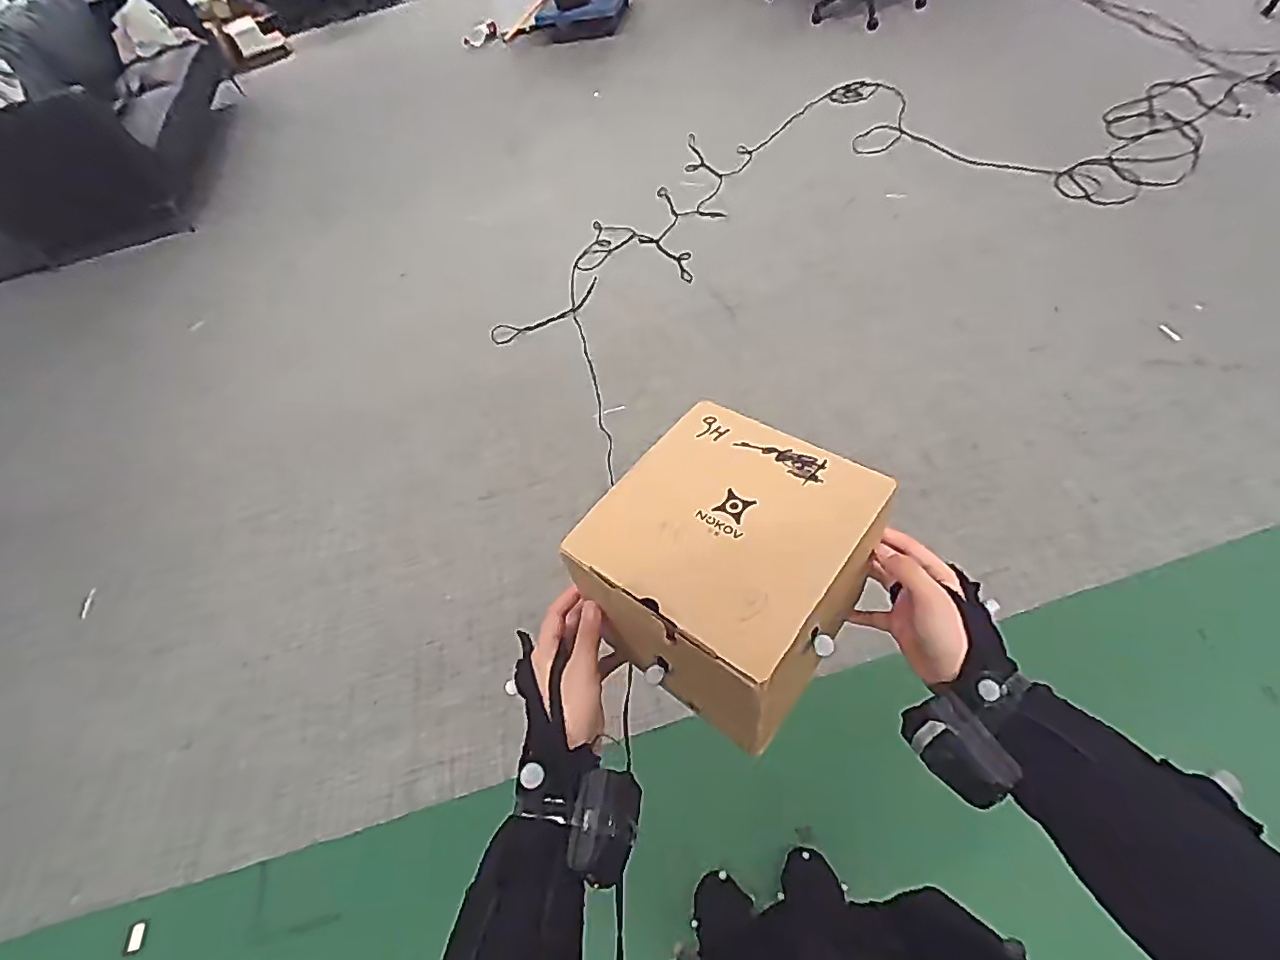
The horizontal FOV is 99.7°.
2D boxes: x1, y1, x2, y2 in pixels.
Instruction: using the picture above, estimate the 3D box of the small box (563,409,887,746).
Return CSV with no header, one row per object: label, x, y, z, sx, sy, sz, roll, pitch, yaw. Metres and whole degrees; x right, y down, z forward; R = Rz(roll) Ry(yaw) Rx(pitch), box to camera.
small box,0.071,0.080,0.440,0.168,0.176,0.179,29,62,30
